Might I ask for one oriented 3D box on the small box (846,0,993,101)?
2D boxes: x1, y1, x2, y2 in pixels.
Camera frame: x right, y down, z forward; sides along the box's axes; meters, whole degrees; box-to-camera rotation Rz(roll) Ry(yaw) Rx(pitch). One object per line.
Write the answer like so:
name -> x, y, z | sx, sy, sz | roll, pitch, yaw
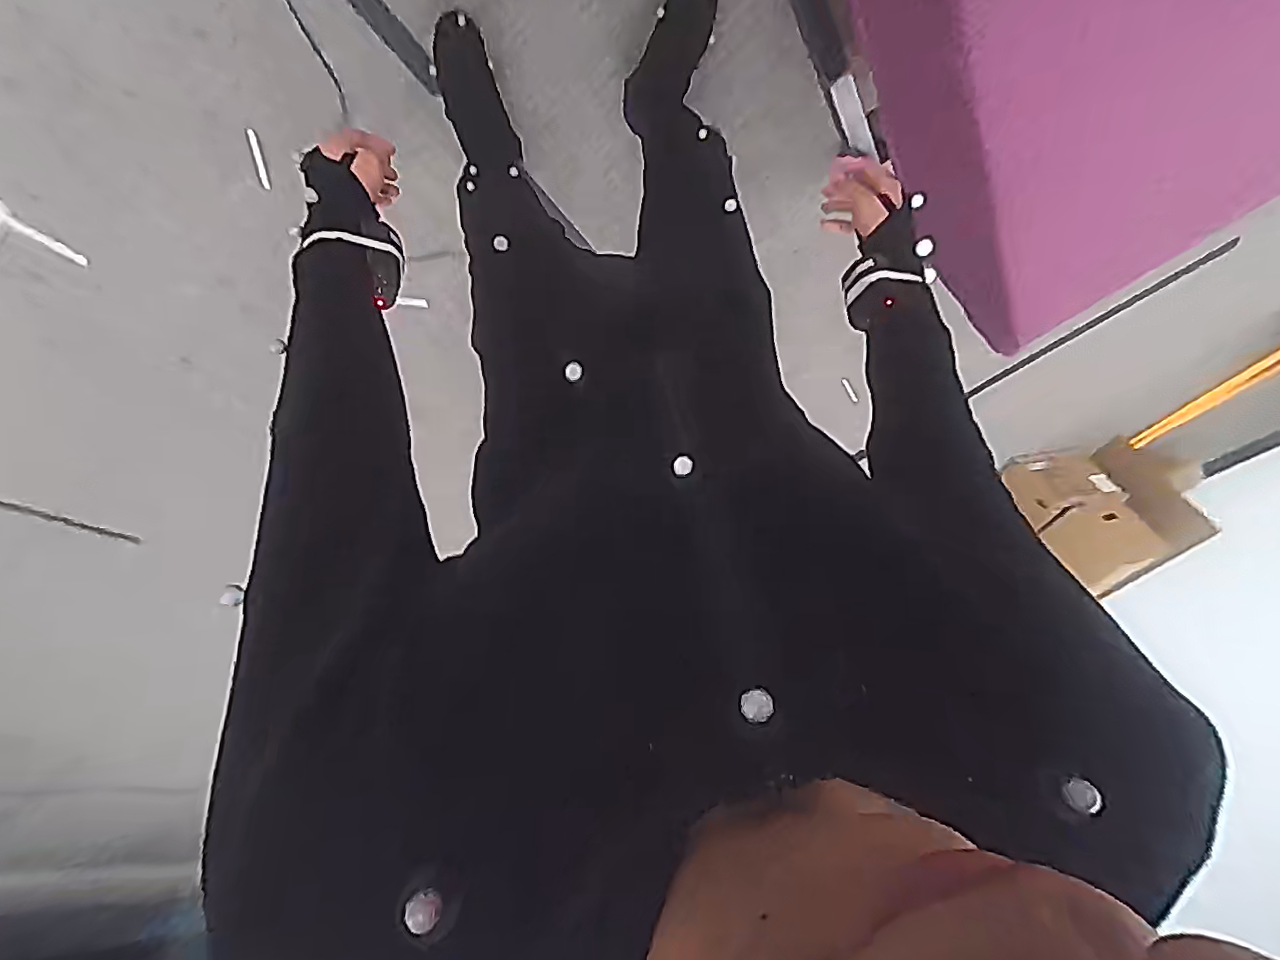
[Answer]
small box -> 0.565, -0.938, 1.119 | 0.168, 0.176, 0.179 | 9, 135, -26
